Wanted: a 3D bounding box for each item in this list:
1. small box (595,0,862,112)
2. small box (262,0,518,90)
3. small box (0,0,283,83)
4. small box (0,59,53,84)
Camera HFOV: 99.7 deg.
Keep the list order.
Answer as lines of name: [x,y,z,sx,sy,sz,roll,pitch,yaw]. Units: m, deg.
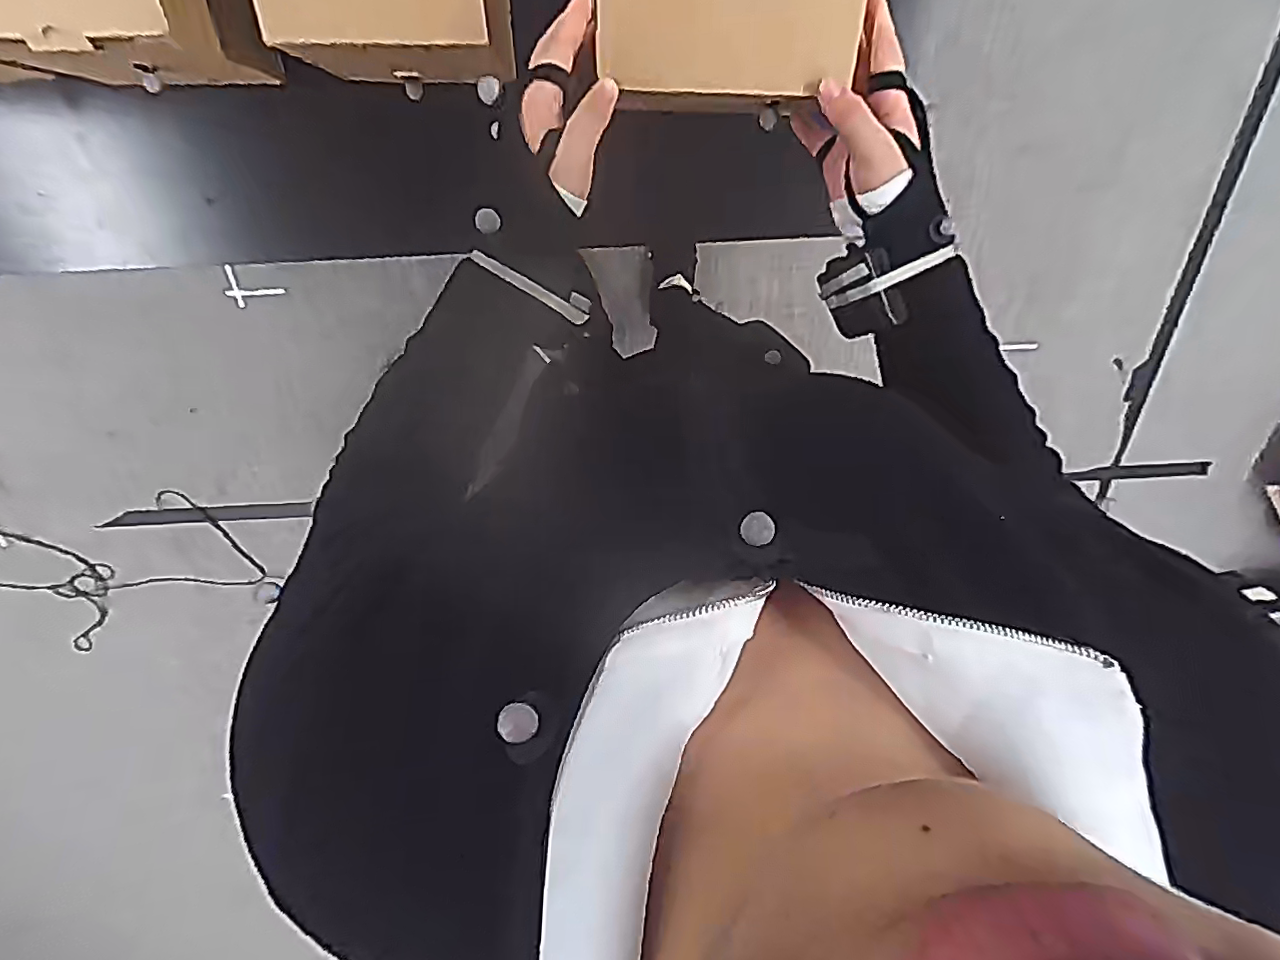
small box: [0.057,-0.381,0.402,0.179,0.176,0.168,1,121,-1]
small box: [-0.200,-0.442,0.443,0.168,0.176,0.179,-2,118,-3]
small box: [-0.425,-0.430,0.426,0.168,0.176,0.179,-3,118,-3]
small box: [-0.639,-0.415,0.413,0.179,0.176,0.168,-6,118,-3]
